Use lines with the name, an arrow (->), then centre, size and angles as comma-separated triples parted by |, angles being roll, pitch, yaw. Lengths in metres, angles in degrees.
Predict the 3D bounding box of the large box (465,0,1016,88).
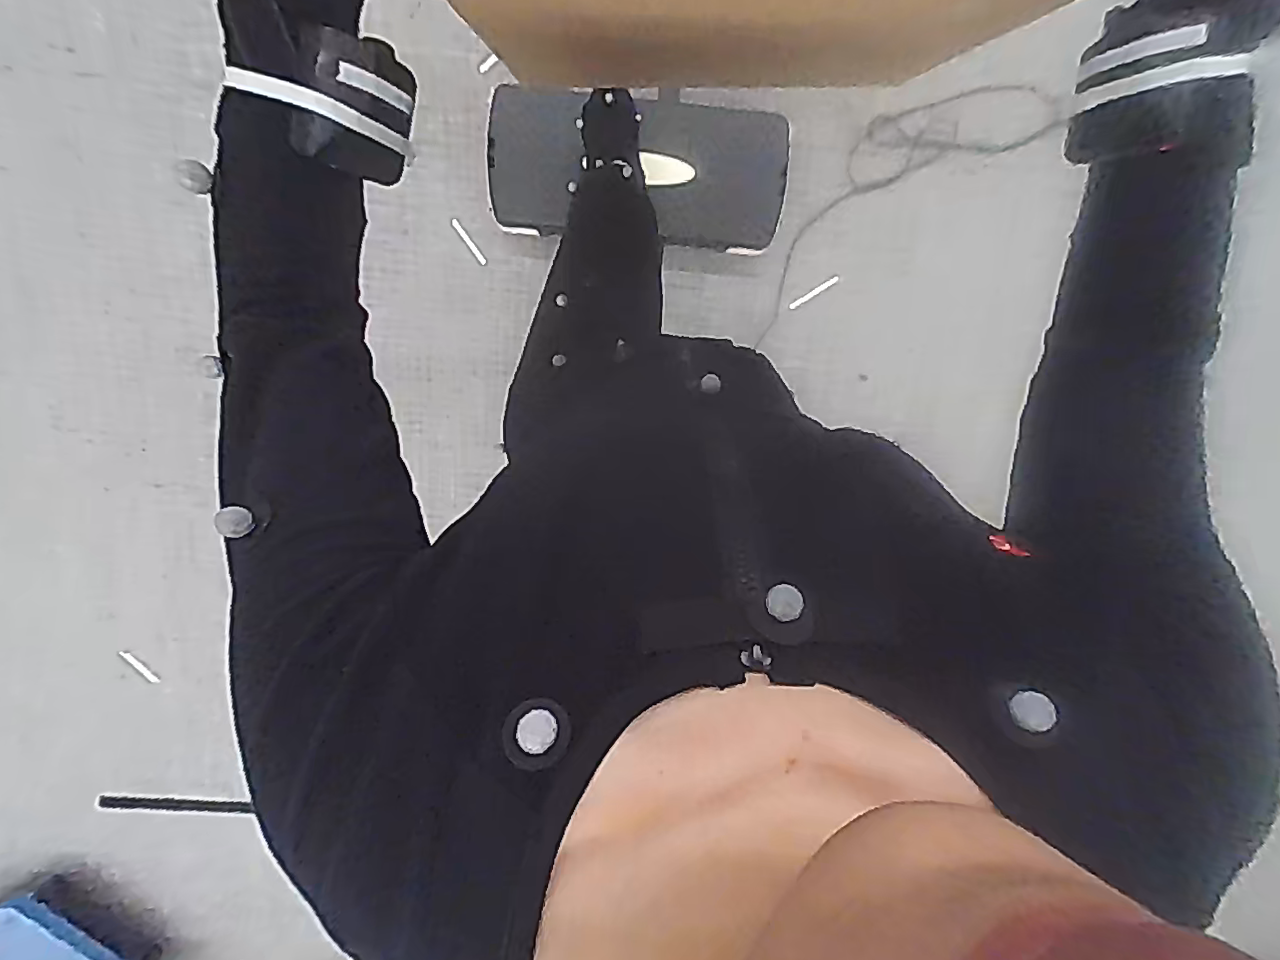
large box -> 0.071, -0.496, 0.374 | 0.408, 0.320, 0.320 | -2, 117, -1
